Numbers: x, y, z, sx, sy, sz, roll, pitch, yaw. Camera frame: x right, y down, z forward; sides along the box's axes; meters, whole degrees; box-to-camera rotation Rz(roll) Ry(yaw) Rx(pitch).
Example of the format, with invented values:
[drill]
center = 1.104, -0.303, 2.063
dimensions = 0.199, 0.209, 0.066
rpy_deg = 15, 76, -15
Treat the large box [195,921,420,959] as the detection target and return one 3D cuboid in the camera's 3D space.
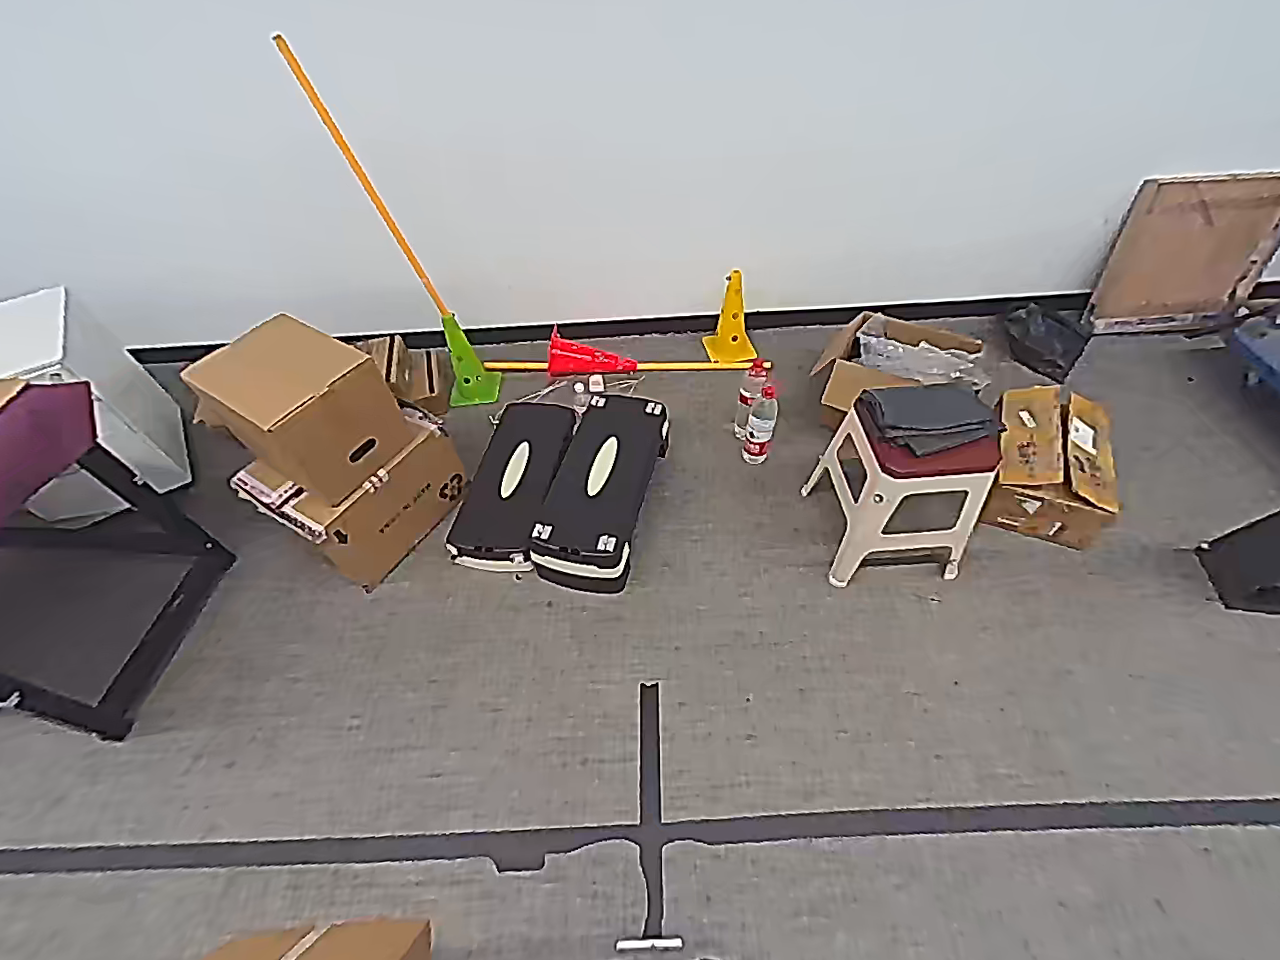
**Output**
[large box]
center = -0.469, 0.778, 0.591
dimensions = 0.320, 0.408, 0.320
rpy_deg = -6, 76, -1
